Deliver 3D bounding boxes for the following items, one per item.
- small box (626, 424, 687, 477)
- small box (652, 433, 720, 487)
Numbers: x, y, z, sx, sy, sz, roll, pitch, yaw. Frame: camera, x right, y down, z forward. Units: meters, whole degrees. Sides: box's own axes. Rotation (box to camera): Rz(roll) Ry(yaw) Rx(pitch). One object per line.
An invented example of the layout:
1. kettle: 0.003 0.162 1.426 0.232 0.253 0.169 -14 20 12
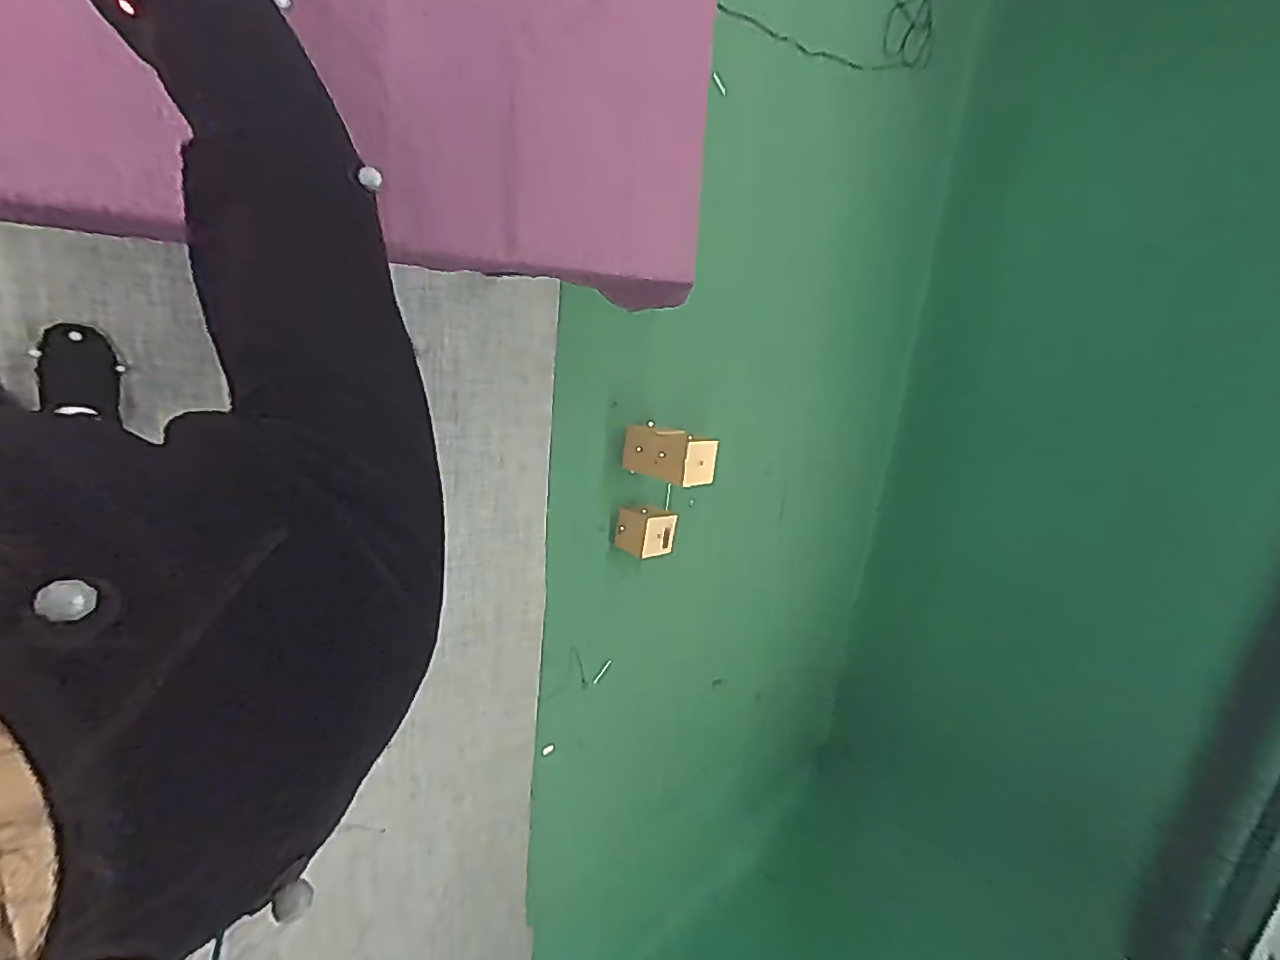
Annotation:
1. small box: 0.060 -0.121 2.126 0.168 0.176 0.179 -8 108 -45
2. small box: 0.172 -0.081 2.015 0.179 0.176 0.168 -7 108 -44
